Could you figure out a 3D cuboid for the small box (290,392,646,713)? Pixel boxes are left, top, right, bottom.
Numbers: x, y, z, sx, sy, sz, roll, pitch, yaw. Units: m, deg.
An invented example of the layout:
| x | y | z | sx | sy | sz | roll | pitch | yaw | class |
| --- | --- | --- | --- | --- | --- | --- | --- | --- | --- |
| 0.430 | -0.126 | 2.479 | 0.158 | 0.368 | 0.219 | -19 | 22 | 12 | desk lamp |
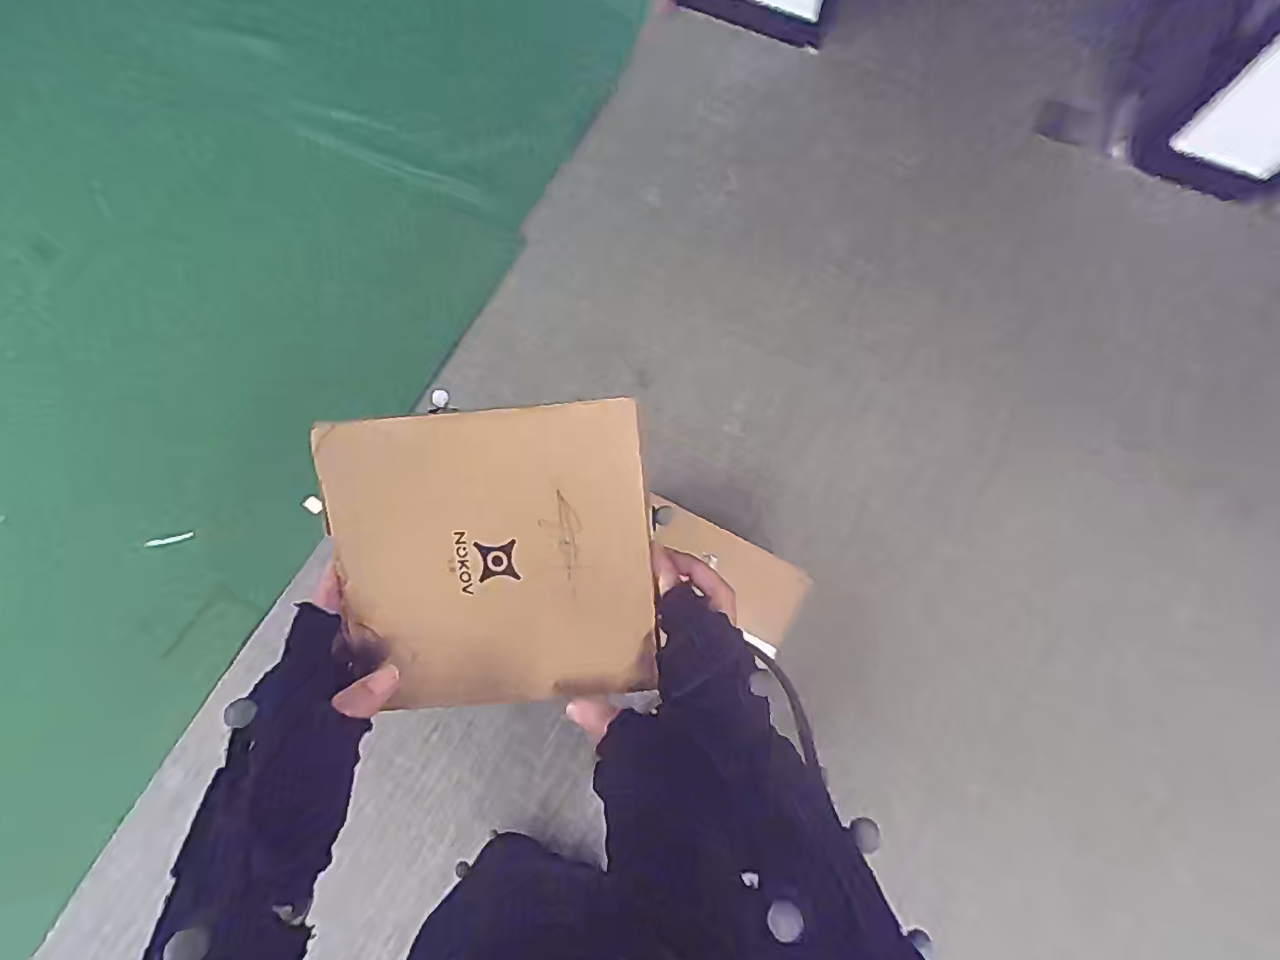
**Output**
| x | y | z | sx | sy | sz | roll | pitch | yaw | class |
| --- | --- | --- | --- | --- | --- | --- | --- | --- | --- |
| -0.090 | 0.031 | 0.372 | 0.179 | 0.176 | 0.168 | -7 | 100 | 1 | small box |
